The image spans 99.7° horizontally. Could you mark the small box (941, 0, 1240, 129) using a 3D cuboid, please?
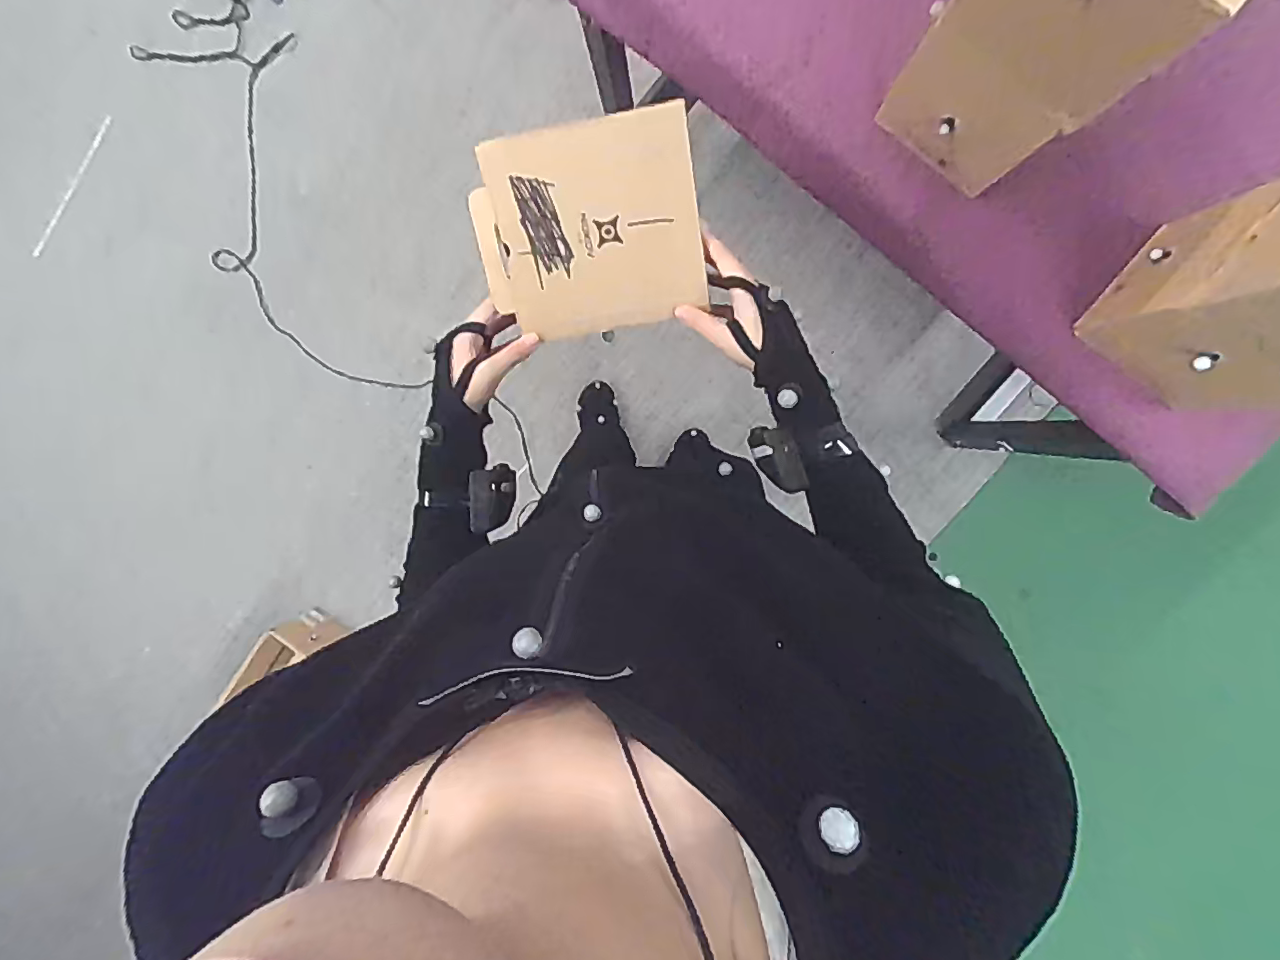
[{"bbox_3d":[0.399,-0.445,0.450,0.179,0.176,0.168,39,98,0],"label":"small box"}]

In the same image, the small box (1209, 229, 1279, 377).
[{"bbox_3d":[0.664,-0.178,0.449,0.168,0.176,0.179,39,98,3],"label":"small box"}]

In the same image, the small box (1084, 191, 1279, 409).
[{"bbox_3d":[0.678,-0.194,0.612,0.179,0.176,0.168,38,99,2],"label":"small box"}]

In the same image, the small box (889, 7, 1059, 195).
[{"bbox_3d":[0.414,-0.468,0.610,0.168,0.176,0.179,39,97,0],"label":"small box"}]

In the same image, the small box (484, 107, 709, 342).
[{"bbox_3d":[-0.031,-0.240,0.545,0.179,0.176,0.168,-9,110,5],"label":"small box"}]
